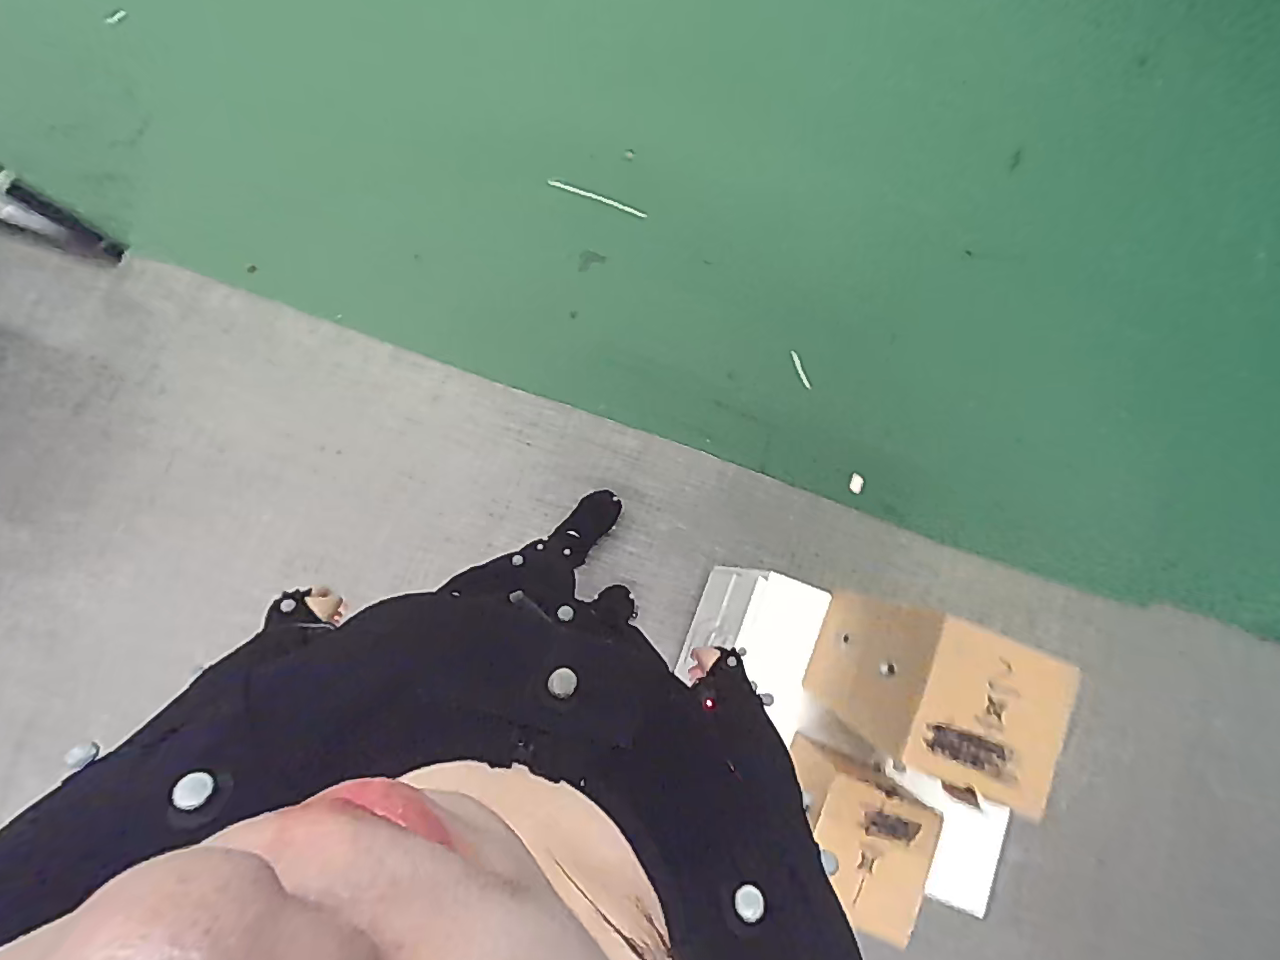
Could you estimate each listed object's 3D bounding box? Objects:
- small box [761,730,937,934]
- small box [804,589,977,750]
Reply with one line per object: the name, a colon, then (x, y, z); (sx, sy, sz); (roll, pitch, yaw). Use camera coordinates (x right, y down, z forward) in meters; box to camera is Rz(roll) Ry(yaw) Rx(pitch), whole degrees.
small box: (0.301, 0.511, 0.816); (0.168, 0.176, 0.179); (24, 81, 1)
small box: (0.380, 0.282, 0.852); (0.168, 0.176, 0.179); (22, 82, 1)
